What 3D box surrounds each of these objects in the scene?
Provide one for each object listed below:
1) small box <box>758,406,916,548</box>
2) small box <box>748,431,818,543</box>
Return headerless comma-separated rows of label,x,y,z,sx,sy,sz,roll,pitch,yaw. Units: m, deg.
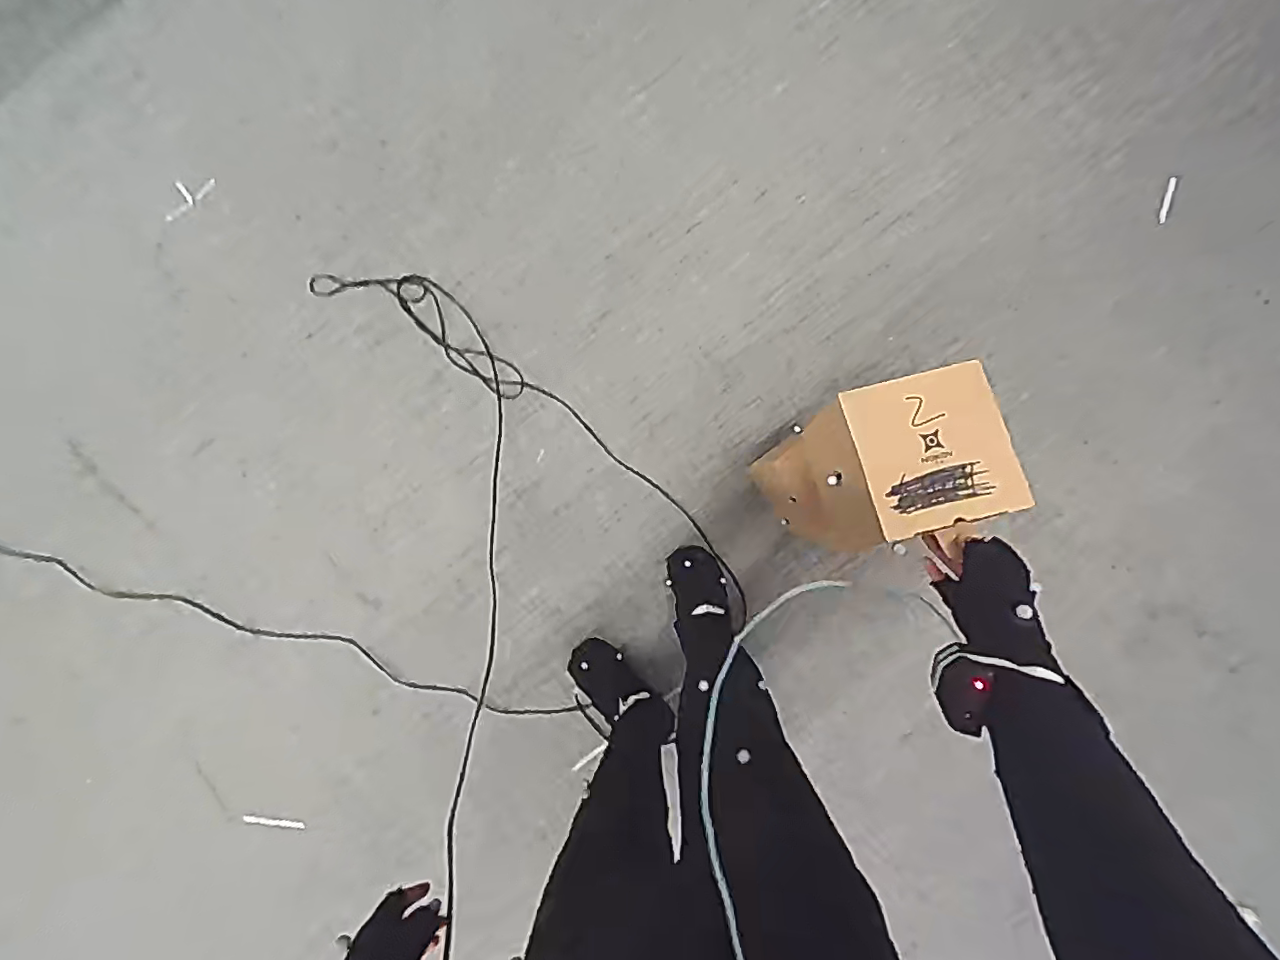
small box,0.330,-0.005,0.949,0.168,0.176,0.179,-37,91,1
small box,0.346,0.004,1.114,0.168,0.176,0.179,-34,91,1
